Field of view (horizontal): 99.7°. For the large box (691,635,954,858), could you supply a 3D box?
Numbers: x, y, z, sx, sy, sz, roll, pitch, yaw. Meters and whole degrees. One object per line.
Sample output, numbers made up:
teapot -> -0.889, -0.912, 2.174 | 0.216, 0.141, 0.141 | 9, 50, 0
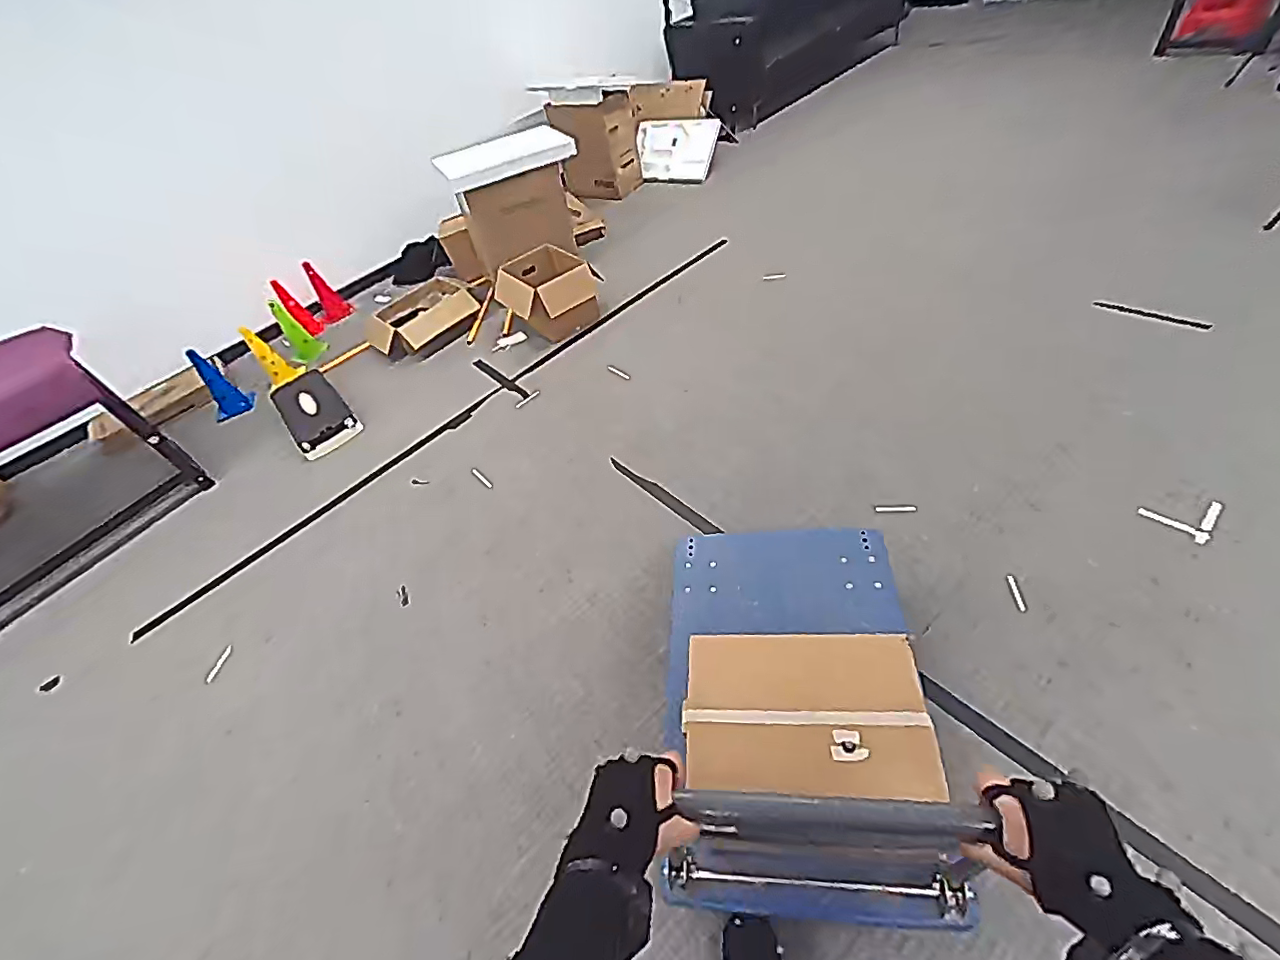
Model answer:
large box -> 0.310, 0.514, 1.045 | 0.408, 0.320, 0.320 | -3, 48, 10
